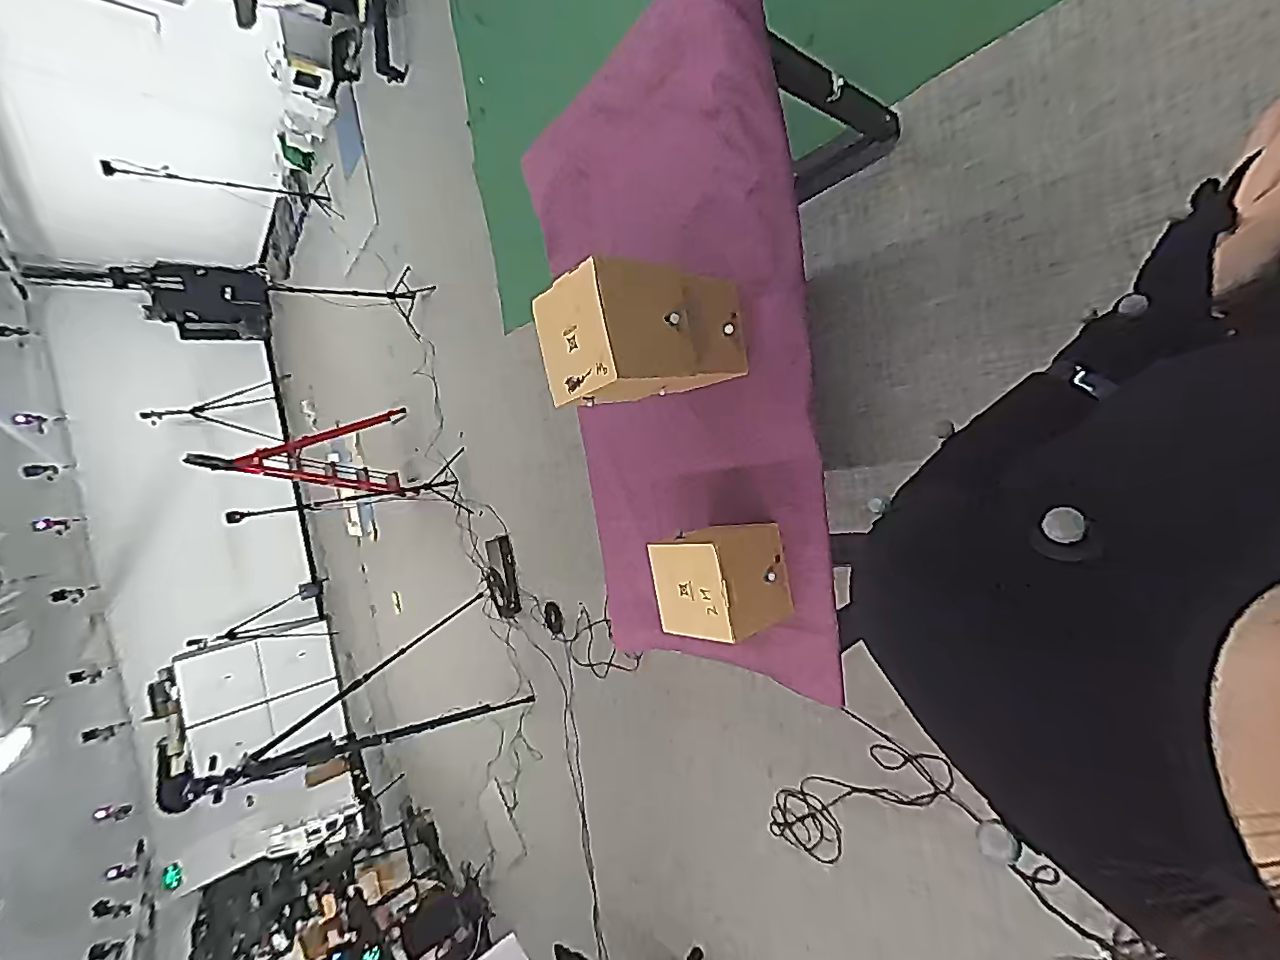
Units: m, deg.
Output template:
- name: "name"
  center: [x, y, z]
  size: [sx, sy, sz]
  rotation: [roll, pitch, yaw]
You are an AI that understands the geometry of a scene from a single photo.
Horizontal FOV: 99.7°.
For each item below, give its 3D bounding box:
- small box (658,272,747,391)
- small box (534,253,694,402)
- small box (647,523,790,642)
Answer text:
- name: "small box"
  center: [0.064, -0.253, 0.967]
  size: [0.179, 0.176, 0.168]
  rotation: [-6, 94, 49]
- name: "small box"
  center: [-0.039, -0.224, 0.841]
  size: [0.168, 0.176, 0.179]
  rotation: [-11, 90, 49]
- name: "small box"
  center: [0.140, 0.174, 0.972]
  size: [0.179, 0.176, 0.168]
  rotation: [-9, 92, 51]
